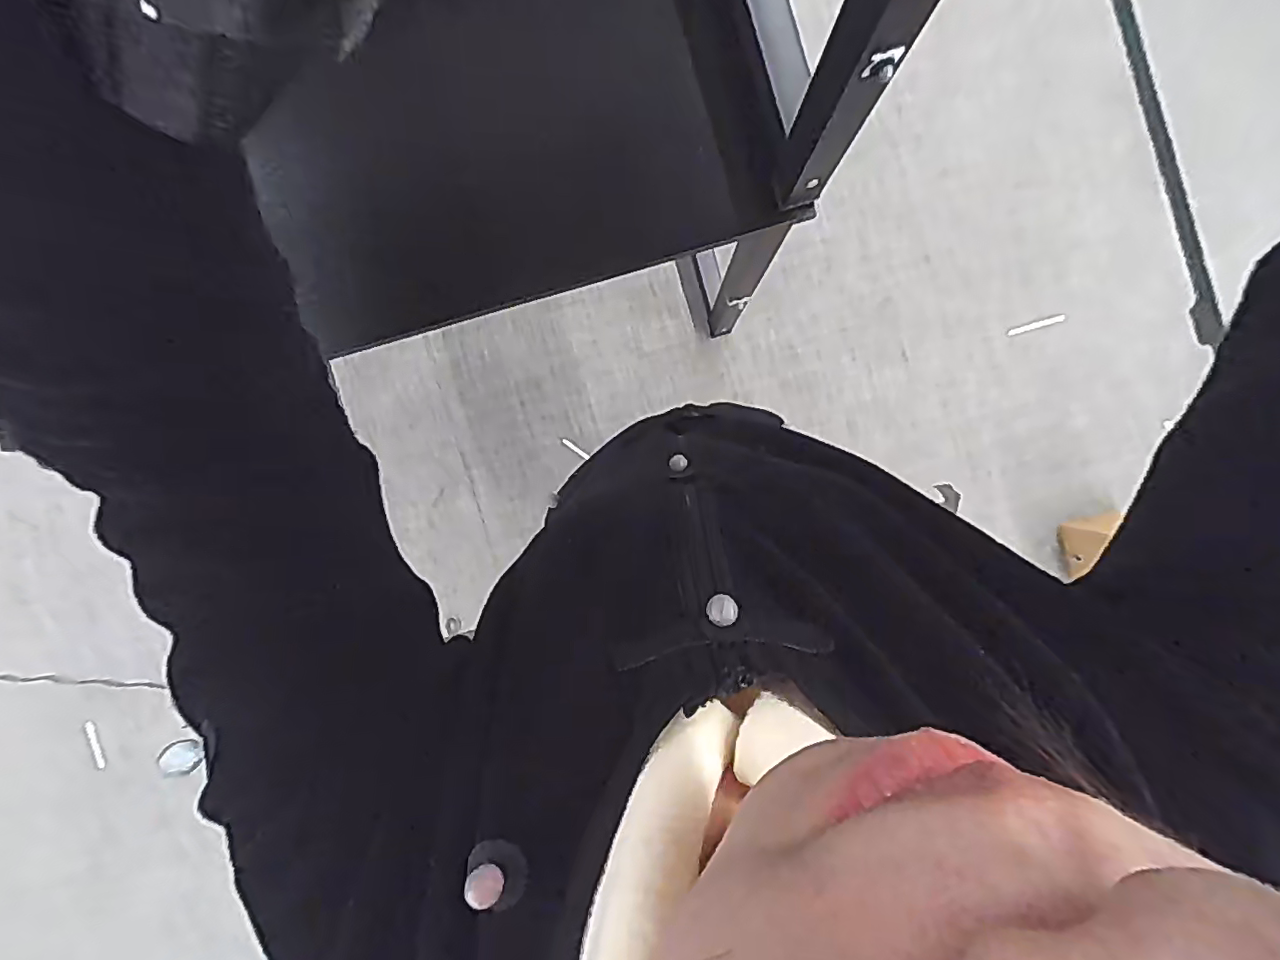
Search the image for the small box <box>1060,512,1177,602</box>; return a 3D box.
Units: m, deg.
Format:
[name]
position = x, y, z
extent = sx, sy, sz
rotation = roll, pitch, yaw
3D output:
[small box]
position = 1.234, 0.192, 1.391
extent = 0.168, 0.176, 0.179
rotation = -14, 93, 1
